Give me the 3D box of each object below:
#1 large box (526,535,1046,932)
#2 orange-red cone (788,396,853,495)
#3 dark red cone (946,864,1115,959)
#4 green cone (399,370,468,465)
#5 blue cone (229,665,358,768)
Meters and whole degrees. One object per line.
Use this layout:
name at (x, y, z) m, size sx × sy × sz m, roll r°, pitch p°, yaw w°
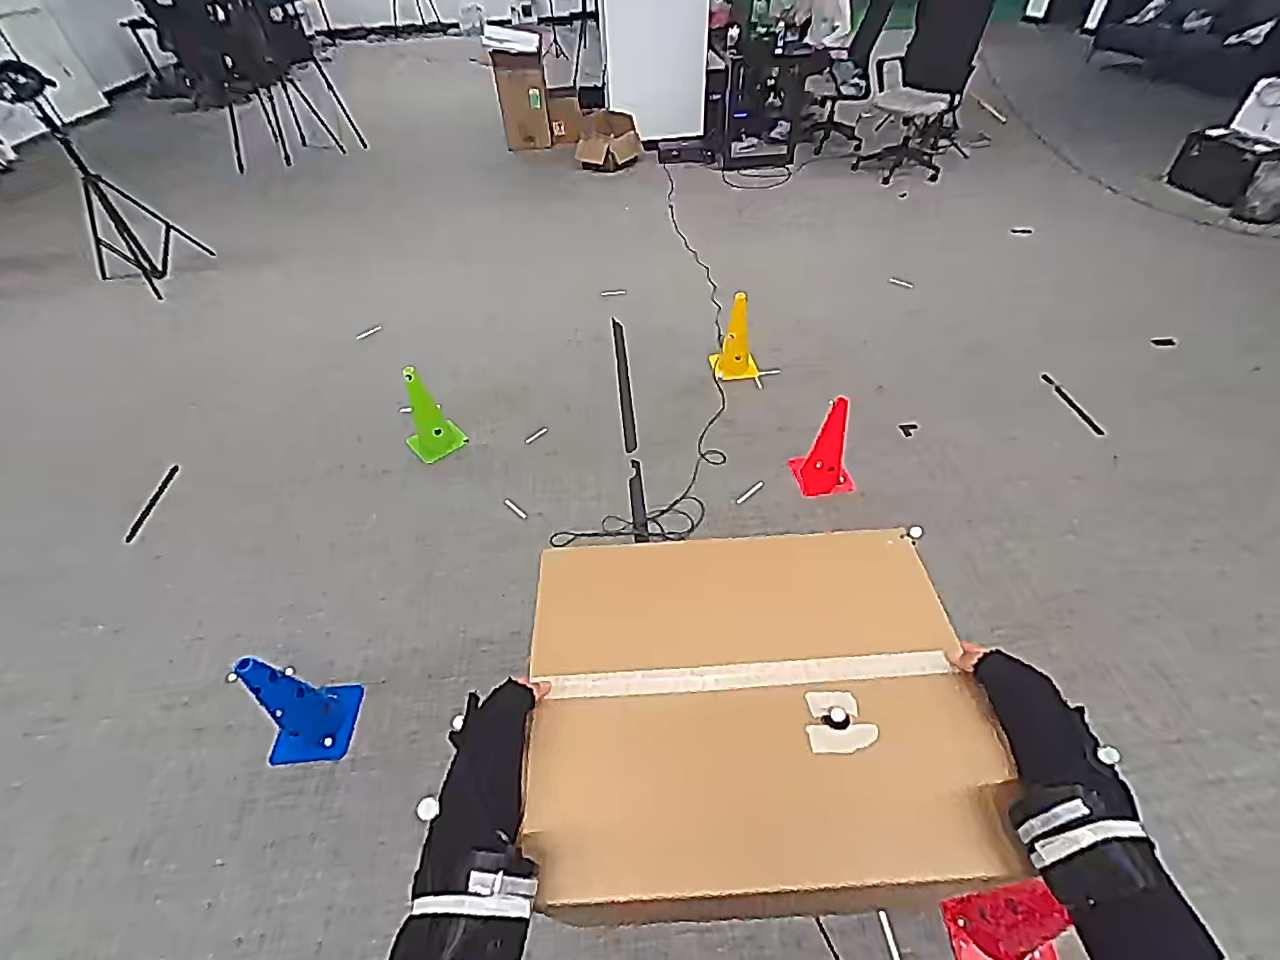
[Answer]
large box at (0.105, 0.287, 0.611) m, size 0.408 × 0.320 × 0.320 m, roll -3°, pitch 48°, yaw -1°
orange-red cone at (0.668, -0.141, 1.902) m, size 0.198 × 0.360 × 0.199 m, roll -7°, pitch 45°, yaw -5°
dark red cone at (0.732, 0.779, 0.986) m, size 0.201 × 0.394 × 0.202 m, roll -3°, pitch 46°, yaw 2°
green cone at (-0.849, -0.273, 2.115) m, size 0.202 × 0.368 × 0.200 m, roll -37°, pitch 54°, yaw -26°
blue cone at (-0.883, 0.558, 1.347) m, size 0.192 × 0.380 × 0.193 m, roll -5°, pitch 46°, yaw 1°
